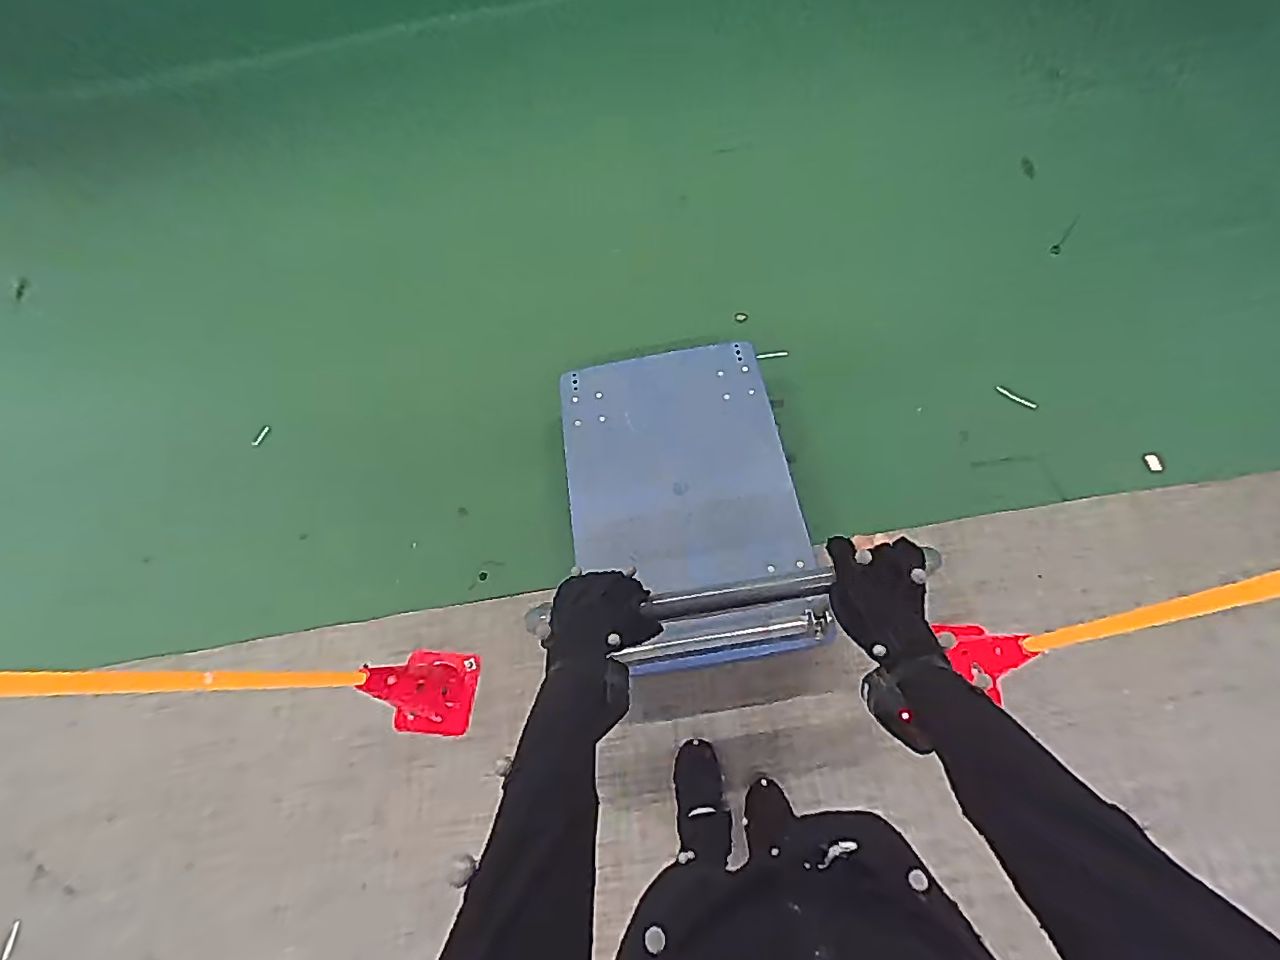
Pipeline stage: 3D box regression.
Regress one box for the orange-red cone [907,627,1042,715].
[{"bbox_3d":[0.741,0.386,1.153,0.198,0.360,0.199,0,65,7],"label":"orange-red cone"}]
